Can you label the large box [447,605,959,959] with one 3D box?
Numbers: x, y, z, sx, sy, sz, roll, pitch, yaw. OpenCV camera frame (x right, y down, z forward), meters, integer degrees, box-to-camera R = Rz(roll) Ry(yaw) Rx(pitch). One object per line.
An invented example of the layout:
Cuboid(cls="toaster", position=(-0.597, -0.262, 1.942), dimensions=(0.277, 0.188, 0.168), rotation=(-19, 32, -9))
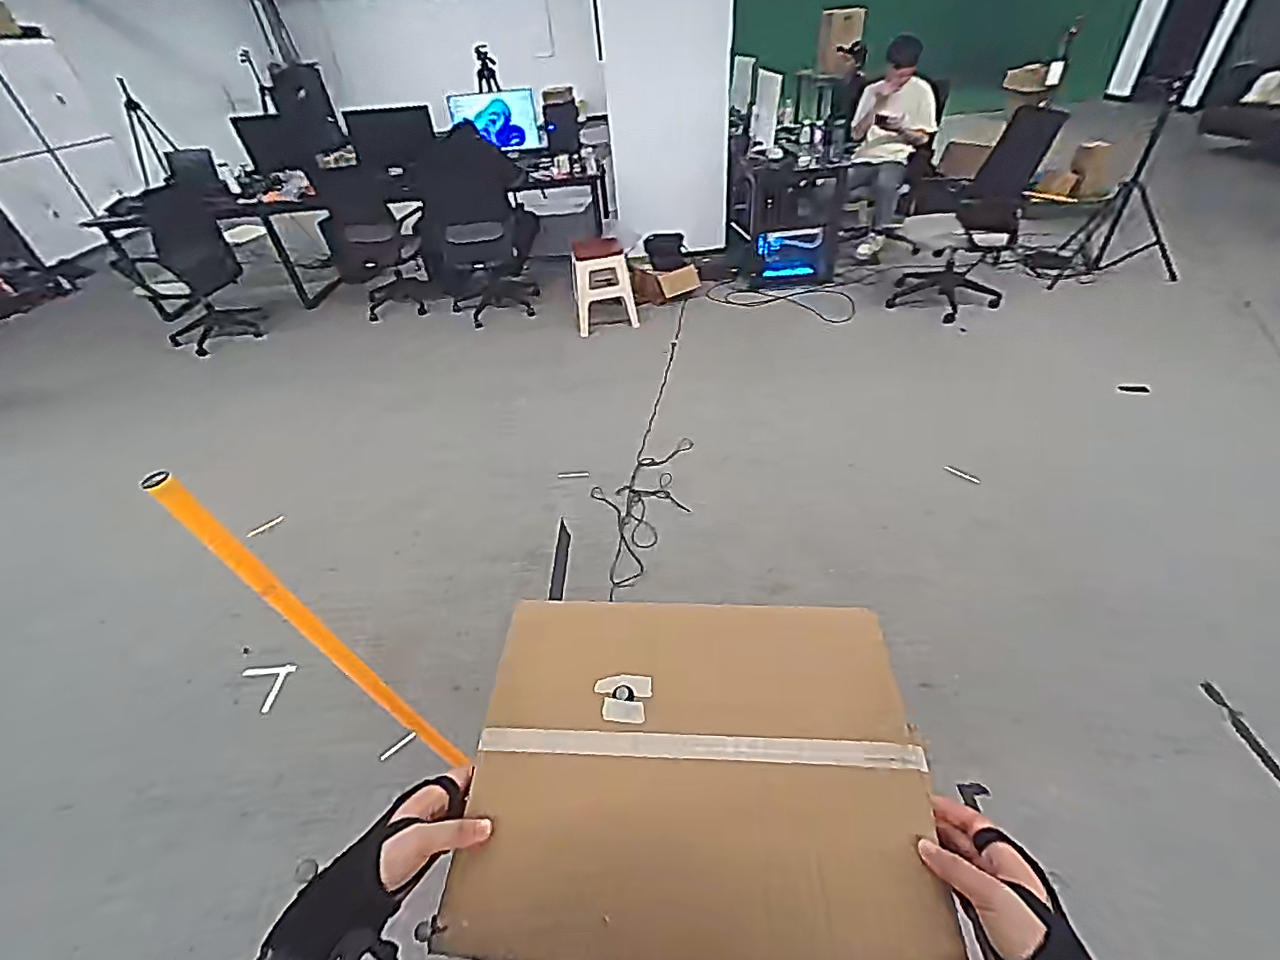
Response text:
Cuboid(cls="large box", position=(0.062, 0.360, 0.624), dimensions=(0.408, 0.320, 0.320), rotation=(-1, 44, 6))
